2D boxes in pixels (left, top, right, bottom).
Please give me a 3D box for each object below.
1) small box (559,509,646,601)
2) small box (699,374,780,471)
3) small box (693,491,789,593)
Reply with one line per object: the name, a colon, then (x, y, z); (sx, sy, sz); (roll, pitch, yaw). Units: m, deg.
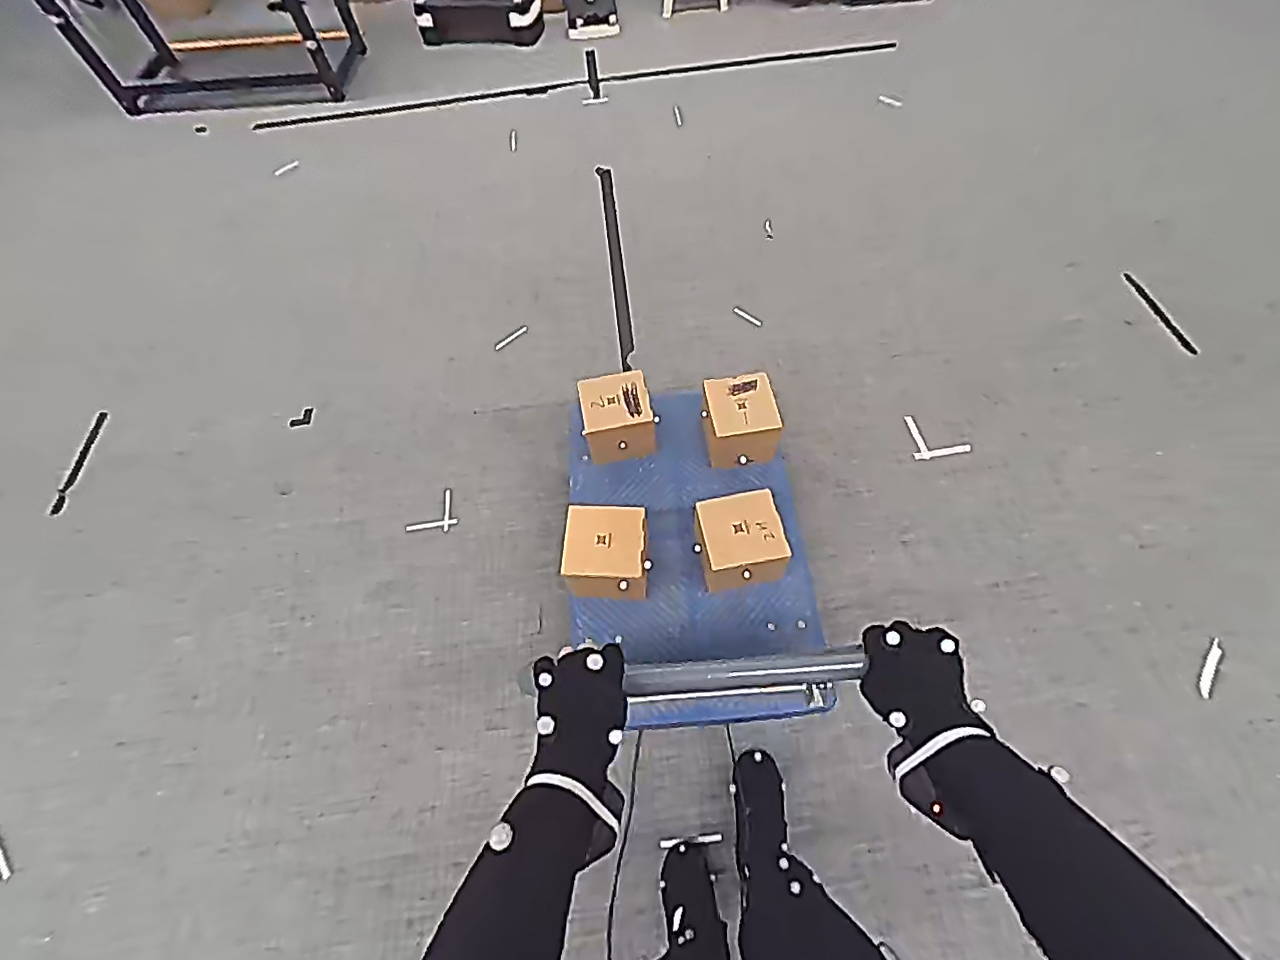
small box: (-0.080, 0.177, 1.251); (0.179, 0.176, 0.168); (1, 61, 3)
small box: (0.251, -0.147, 1.406); (0.168, 0.176, 0.179); (-9, 62, -1)
small box: (0.224, 0.148, 1.245); (0.179, 0.176, 0.168); (-11, 61, -2)
